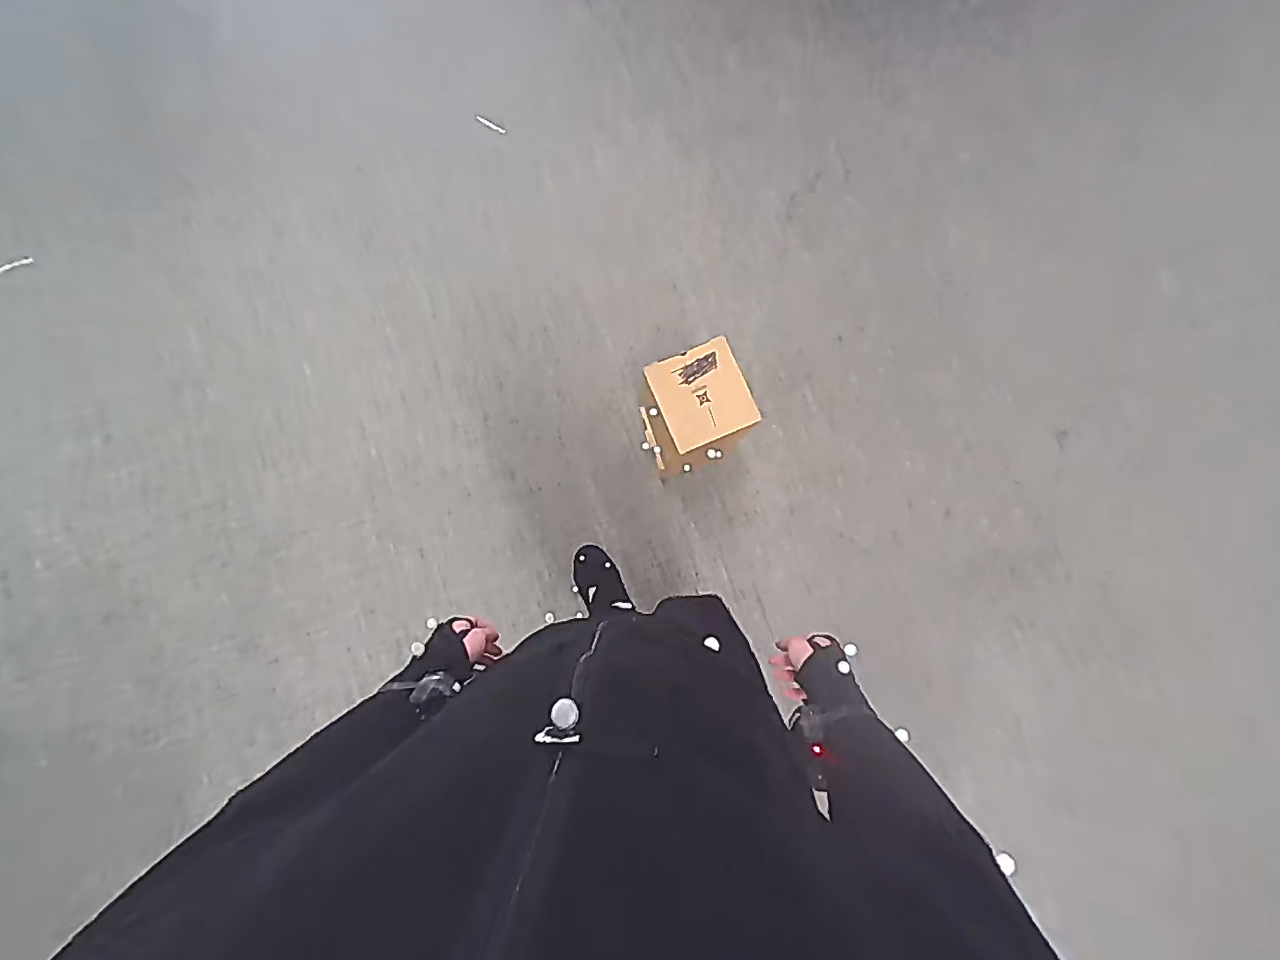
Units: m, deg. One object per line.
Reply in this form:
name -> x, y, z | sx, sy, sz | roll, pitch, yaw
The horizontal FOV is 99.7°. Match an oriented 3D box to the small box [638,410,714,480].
small box -> 0.104, -0.108, 1.399 | 0.179, 0.176, 0.168 | -19, 82, -3

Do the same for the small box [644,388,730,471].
small box -> 0.113, -0.126, 1.218 | 0.168, 0.176, 0.179 | -18, 82, -4

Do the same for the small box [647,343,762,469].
small box -> 0.114, -0.136, 1.052 | 0.168, 0.176, 0.179 | -19, 84, -2
